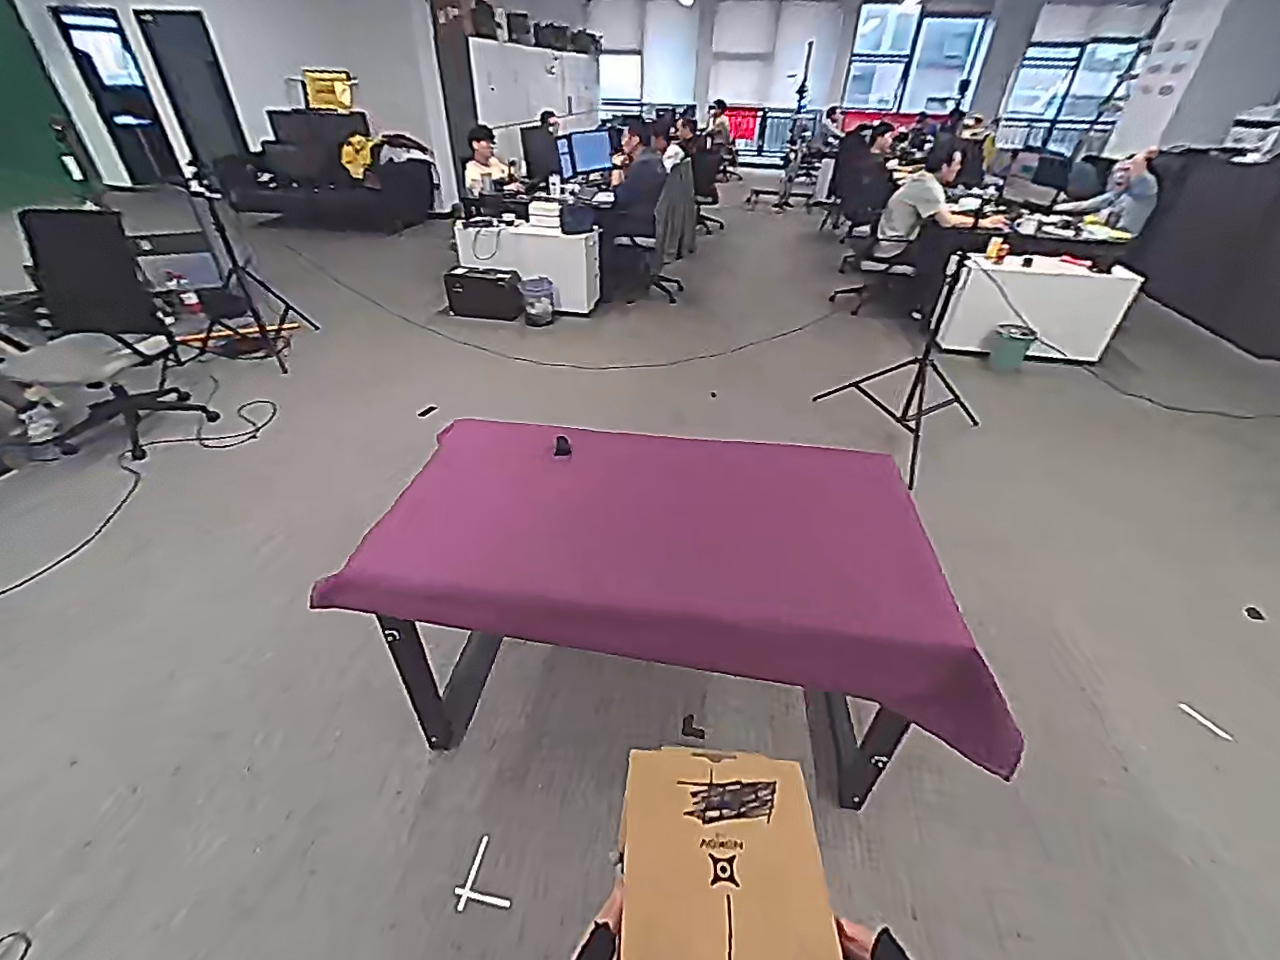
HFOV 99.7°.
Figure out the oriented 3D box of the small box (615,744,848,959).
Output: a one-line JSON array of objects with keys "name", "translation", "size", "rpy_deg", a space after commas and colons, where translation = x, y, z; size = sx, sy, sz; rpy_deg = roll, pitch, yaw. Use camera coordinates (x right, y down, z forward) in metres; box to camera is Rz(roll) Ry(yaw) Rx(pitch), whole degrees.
[{"name": "small box", "translation": [0.065, 0.373, 0.491], "size": [0.168, 0.176, 0.179], "rpy_deg": [4, 33, -1]}]
